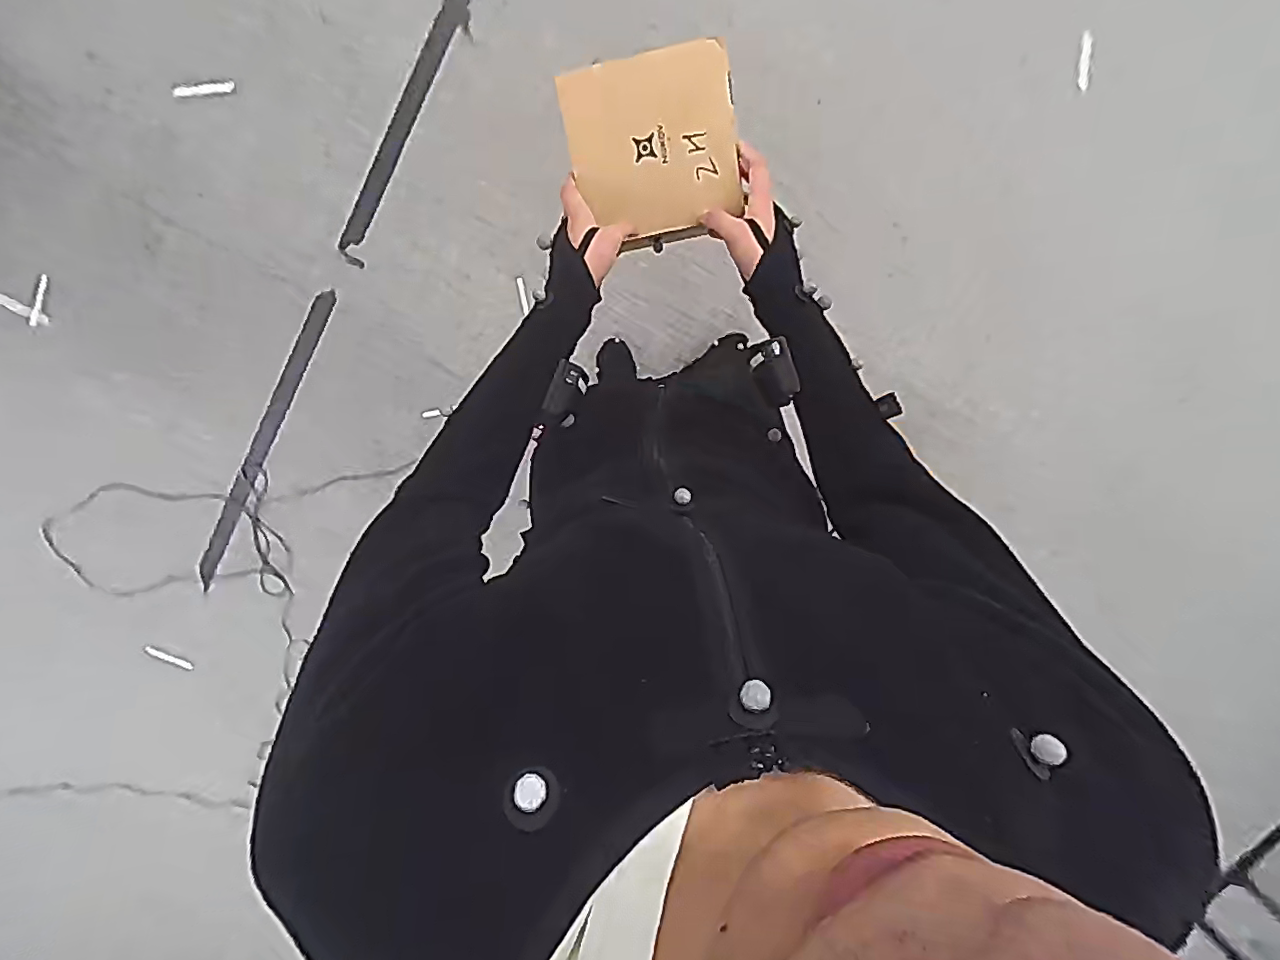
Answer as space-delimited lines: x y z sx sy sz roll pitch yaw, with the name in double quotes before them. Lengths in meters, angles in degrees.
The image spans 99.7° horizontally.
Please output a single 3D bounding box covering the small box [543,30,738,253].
"small box" 0.006 -0.367 0.623 0.179 0.176 0.168 -11 110 4
